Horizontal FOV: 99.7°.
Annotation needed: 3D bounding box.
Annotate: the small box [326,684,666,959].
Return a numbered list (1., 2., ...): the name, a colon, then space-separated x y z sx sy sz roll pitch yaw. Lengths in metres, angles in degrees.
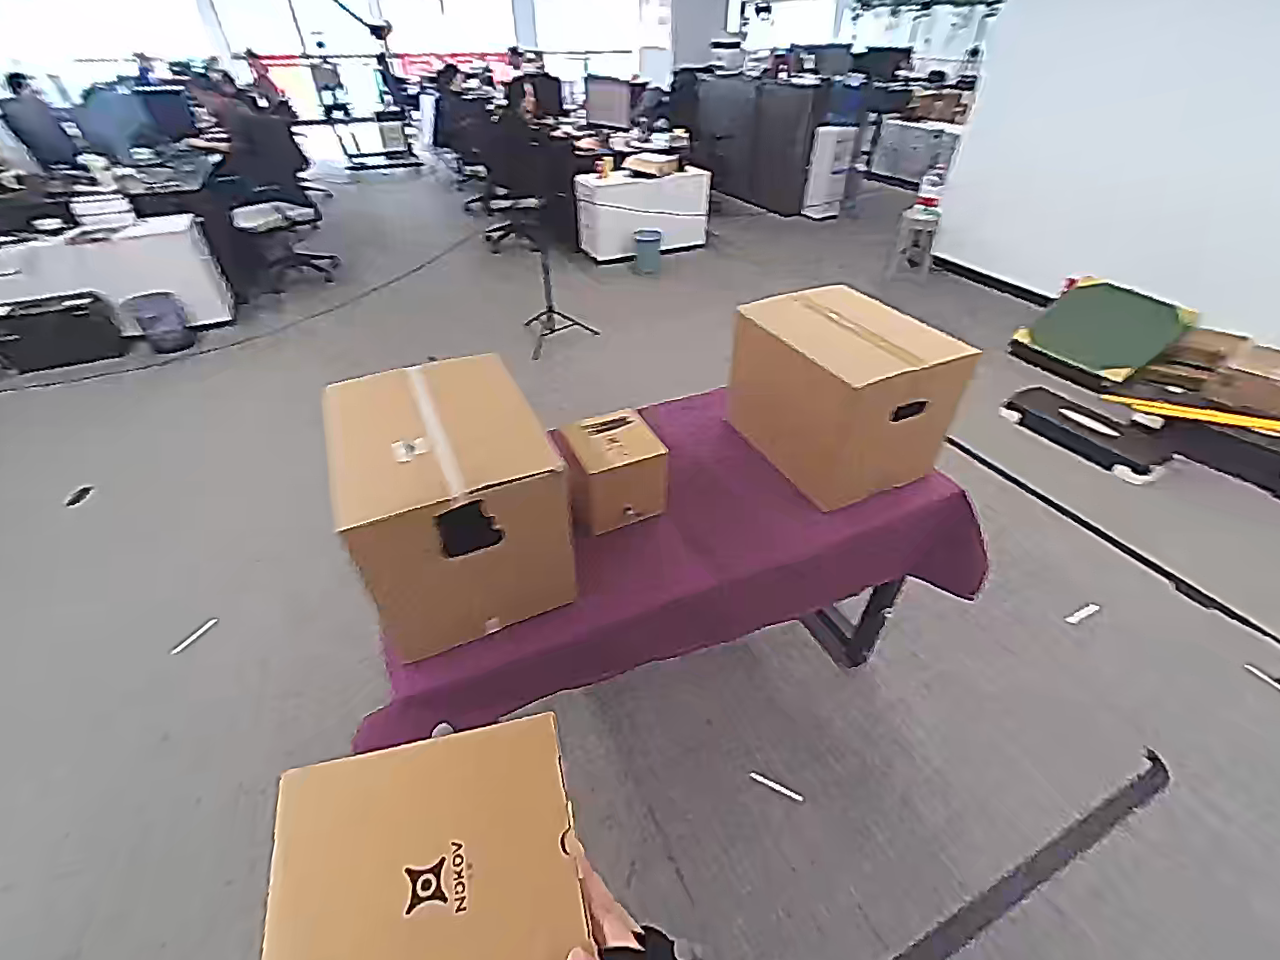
1. small box: -0.104 0.267 0.359 0.168 0.176 0.179 9 28 -34
